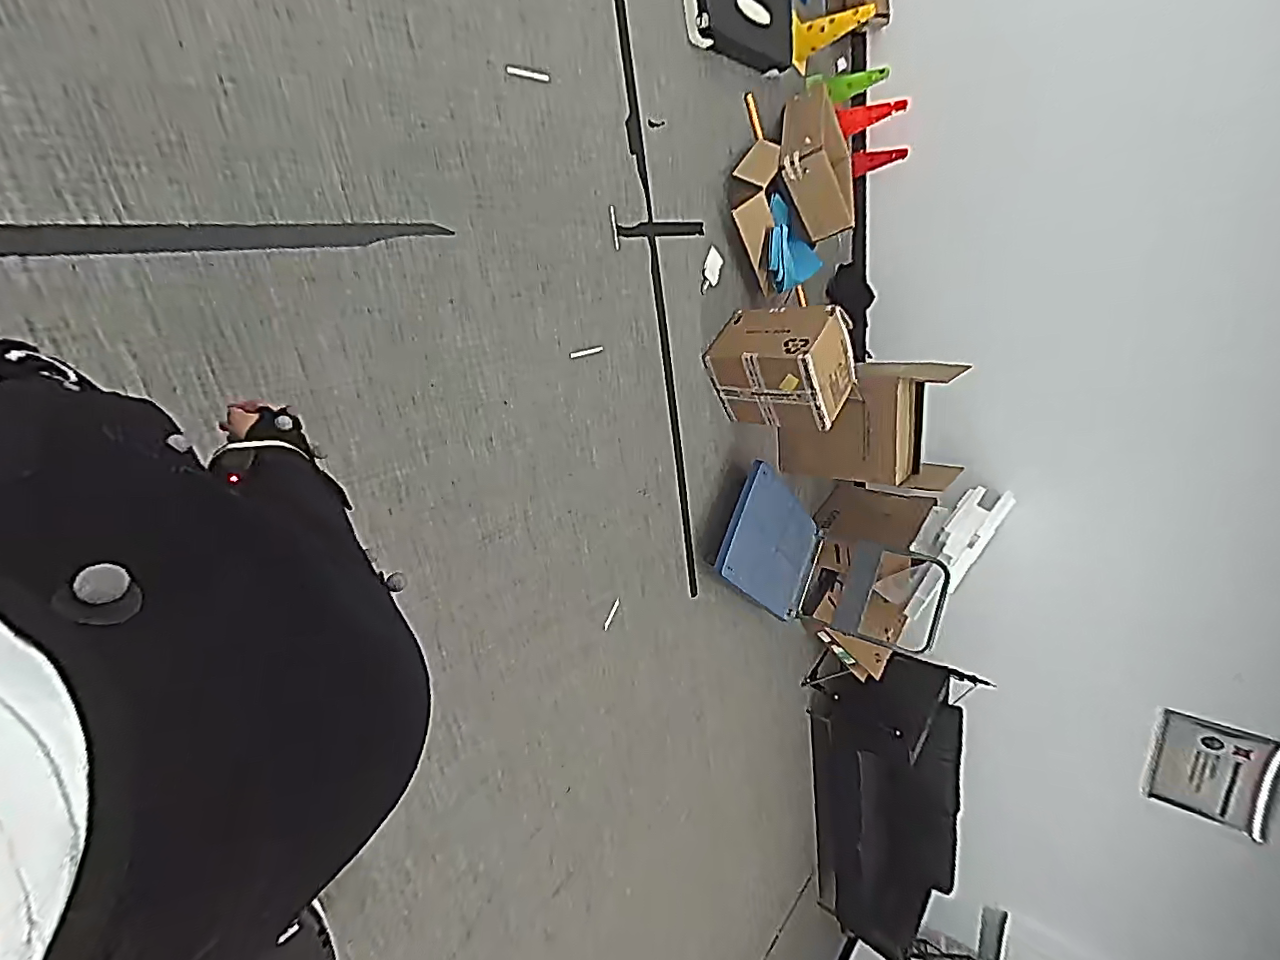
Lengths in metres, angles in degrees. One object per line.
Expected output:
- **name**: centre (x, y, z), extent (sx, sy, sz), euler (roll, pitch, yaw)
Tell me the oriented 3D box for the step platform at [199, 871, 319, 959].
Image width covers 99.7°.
- **step platform**: centre (-1.032, 1.183, 1.077), extent (0.684, 0.204, 0.286), euler (-29, 119, -44)
